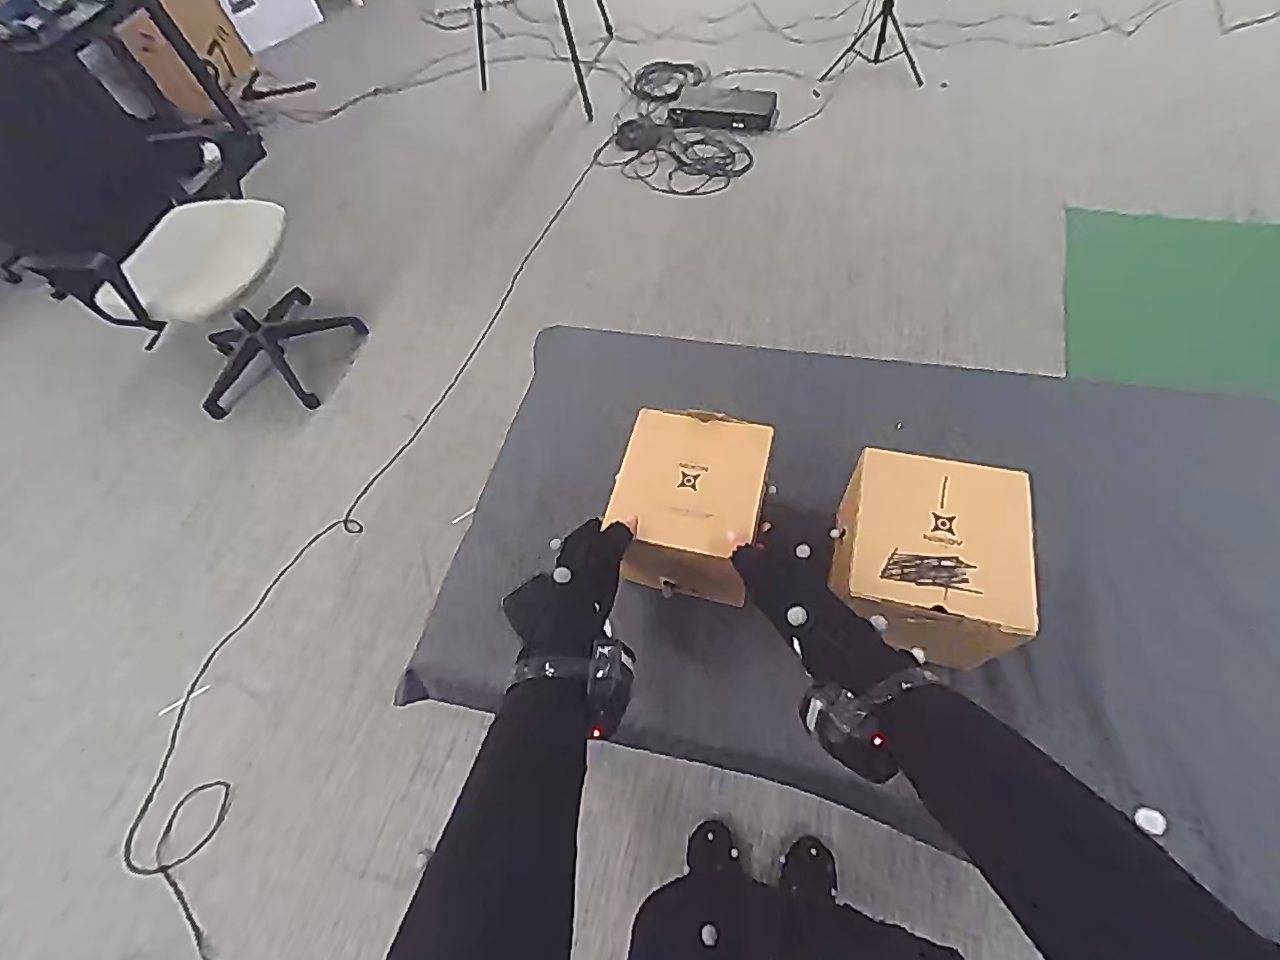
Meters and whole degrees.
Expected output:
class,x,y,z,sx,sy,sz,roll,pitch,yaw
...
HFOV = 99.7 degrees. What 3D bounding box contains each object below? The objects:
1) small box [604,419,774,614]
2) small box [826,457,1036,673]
class,x,y,z,sx,sy,sz,roll,pitch,yaw
small box,0.069,0.050,0.683,0.168,0.176,0.179,9,63,15
small box,0.314,0.102,0.612,0.168,0.176,0.179,11,61,15
